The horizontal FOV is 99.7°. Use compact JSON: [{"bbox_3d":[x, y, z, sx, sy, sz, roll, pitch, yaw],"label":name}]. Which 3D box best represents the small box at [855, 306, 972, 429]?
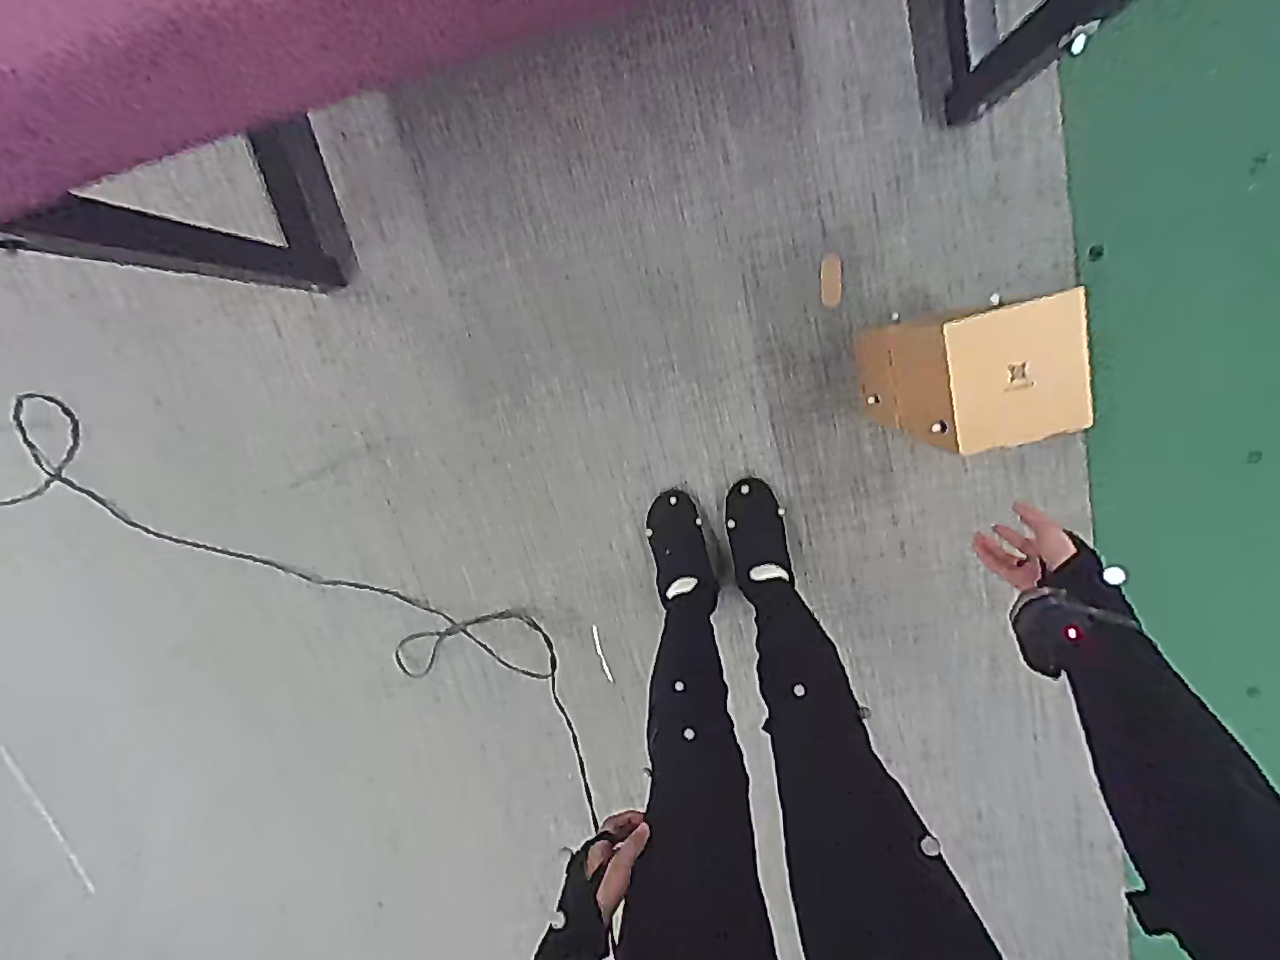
[{"bbox_3d":[0.475,-0.190,0.908,0.179,0.176,0.168,-11,103,6],"label":"small box"}]

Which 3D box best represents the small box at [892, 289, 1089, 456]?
[{"bbox_3d":[0.472,-0.149,0.751,0.168,0.176,0.179,-14,104,7],"label":"small box"}]
